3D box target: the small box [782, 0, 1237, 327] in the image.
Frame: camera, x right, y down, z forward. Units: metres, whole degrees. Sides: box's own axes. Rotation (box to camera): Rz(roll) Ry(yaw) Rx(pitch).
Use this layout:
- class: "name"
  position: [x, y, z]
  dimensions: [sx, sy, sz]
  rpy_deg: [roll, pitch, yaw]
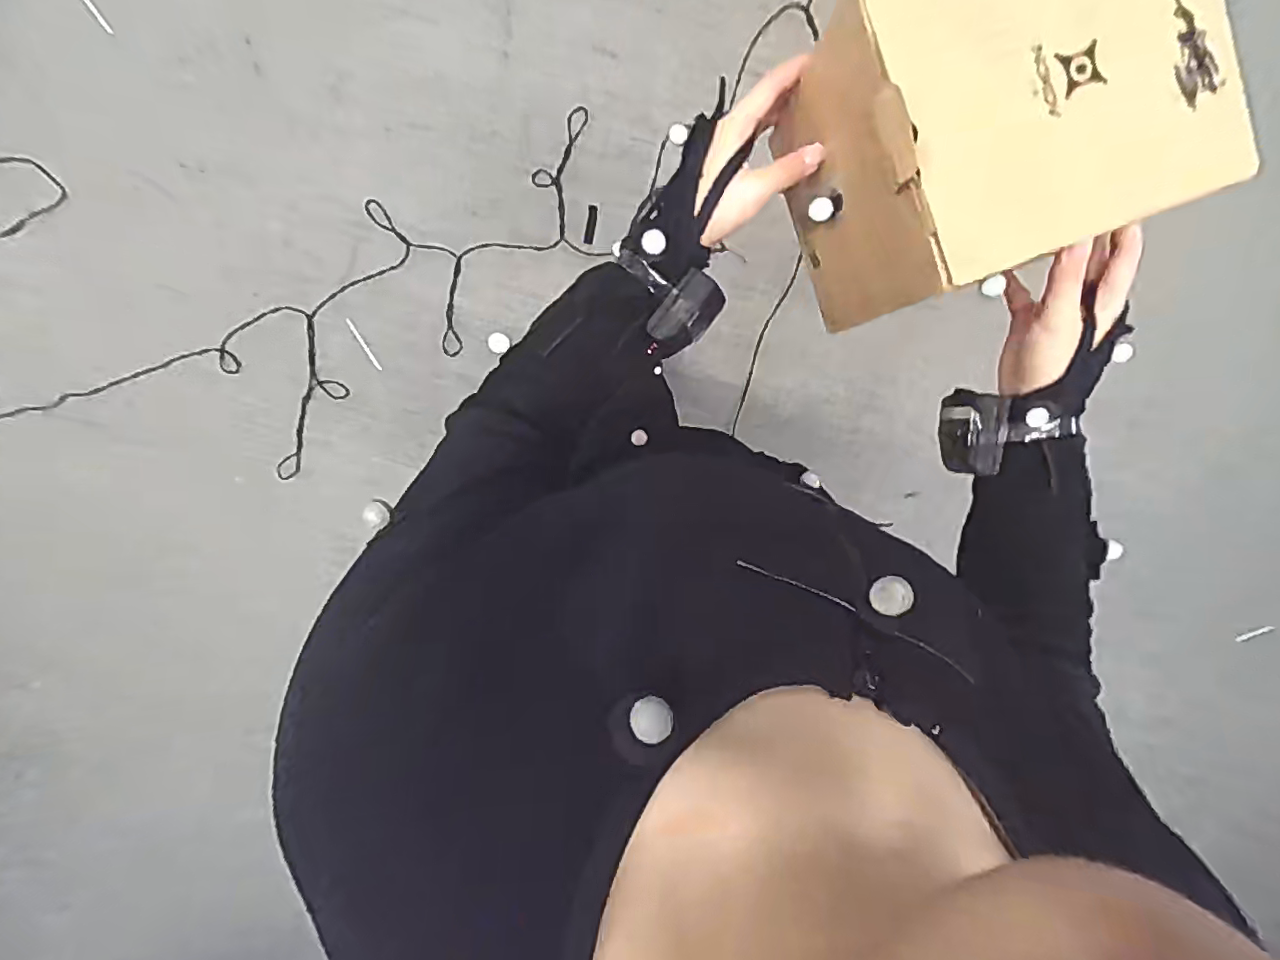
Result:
- class: "small box"
  position: [0.210, -0.217, 0.362]
  dimensions: [0.179, 0.176, 0.168]
  rpy_deg: [-20, 97, 2]
